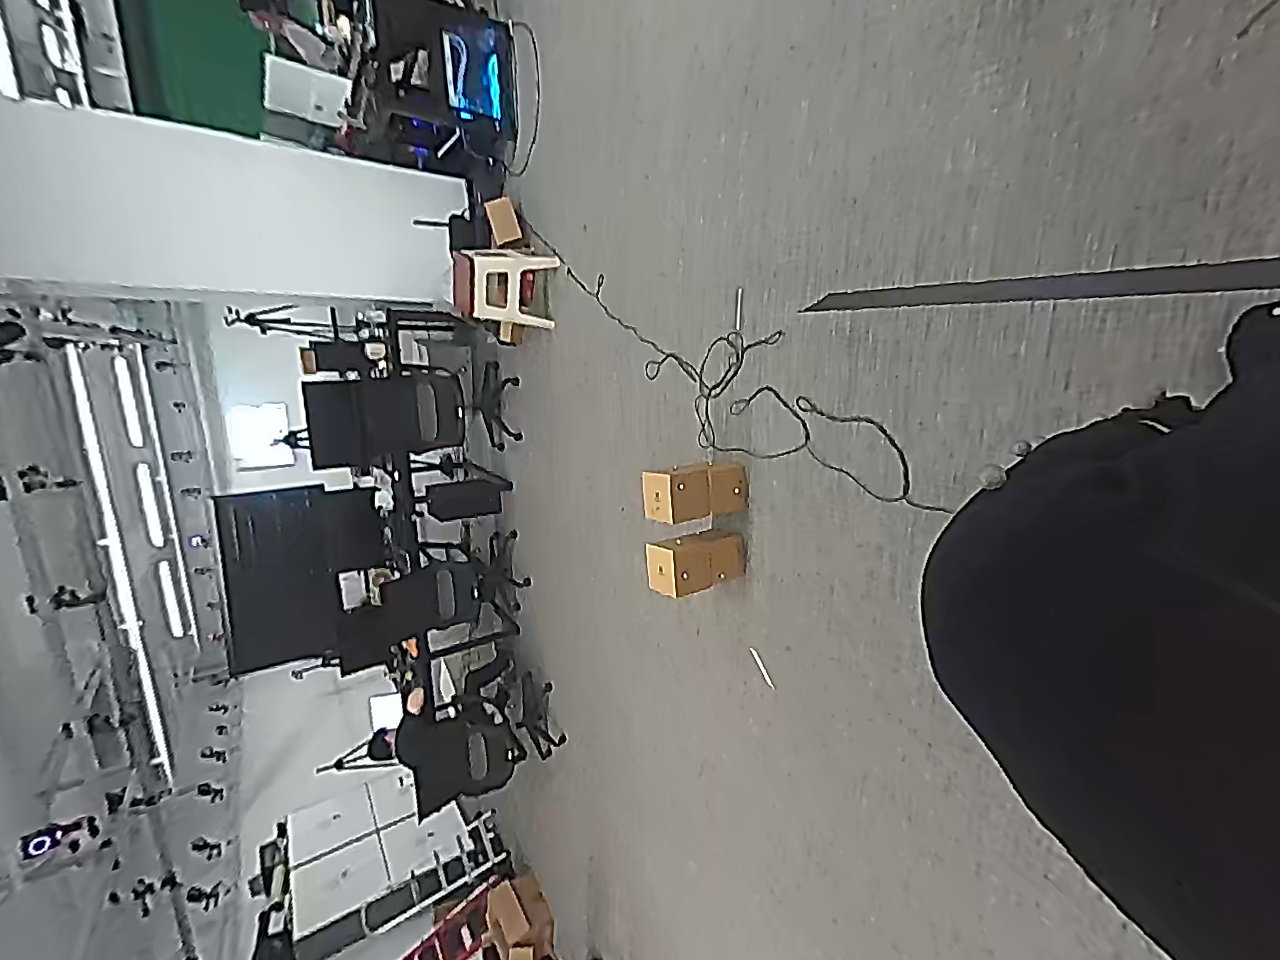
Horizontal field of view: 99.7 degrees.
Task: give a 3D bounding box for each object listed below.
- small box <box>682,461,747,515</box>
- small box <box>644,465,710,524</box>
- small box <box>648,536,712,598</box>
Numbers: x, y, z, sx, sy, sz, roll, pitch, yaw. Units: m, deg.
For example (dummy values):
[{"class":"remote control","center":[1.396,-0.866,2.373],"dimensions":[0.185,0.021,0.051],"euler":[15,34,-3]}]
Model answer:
[{"class":"small box","center":[0.275,0.023,2.006],"dimensions":[0.179,0.176,0.168],"euler":[12,108,54]},{"class":"small box","center":[0.133,0.046,1.925],"dimensions":[0.168,0.176,0.179],"euler":[10,107,56]},{"class":"small box","center":[0.149,0.310,1.975],"dimensions":[0.168,0.176,0.179],"euler":[7,104,56]}]
